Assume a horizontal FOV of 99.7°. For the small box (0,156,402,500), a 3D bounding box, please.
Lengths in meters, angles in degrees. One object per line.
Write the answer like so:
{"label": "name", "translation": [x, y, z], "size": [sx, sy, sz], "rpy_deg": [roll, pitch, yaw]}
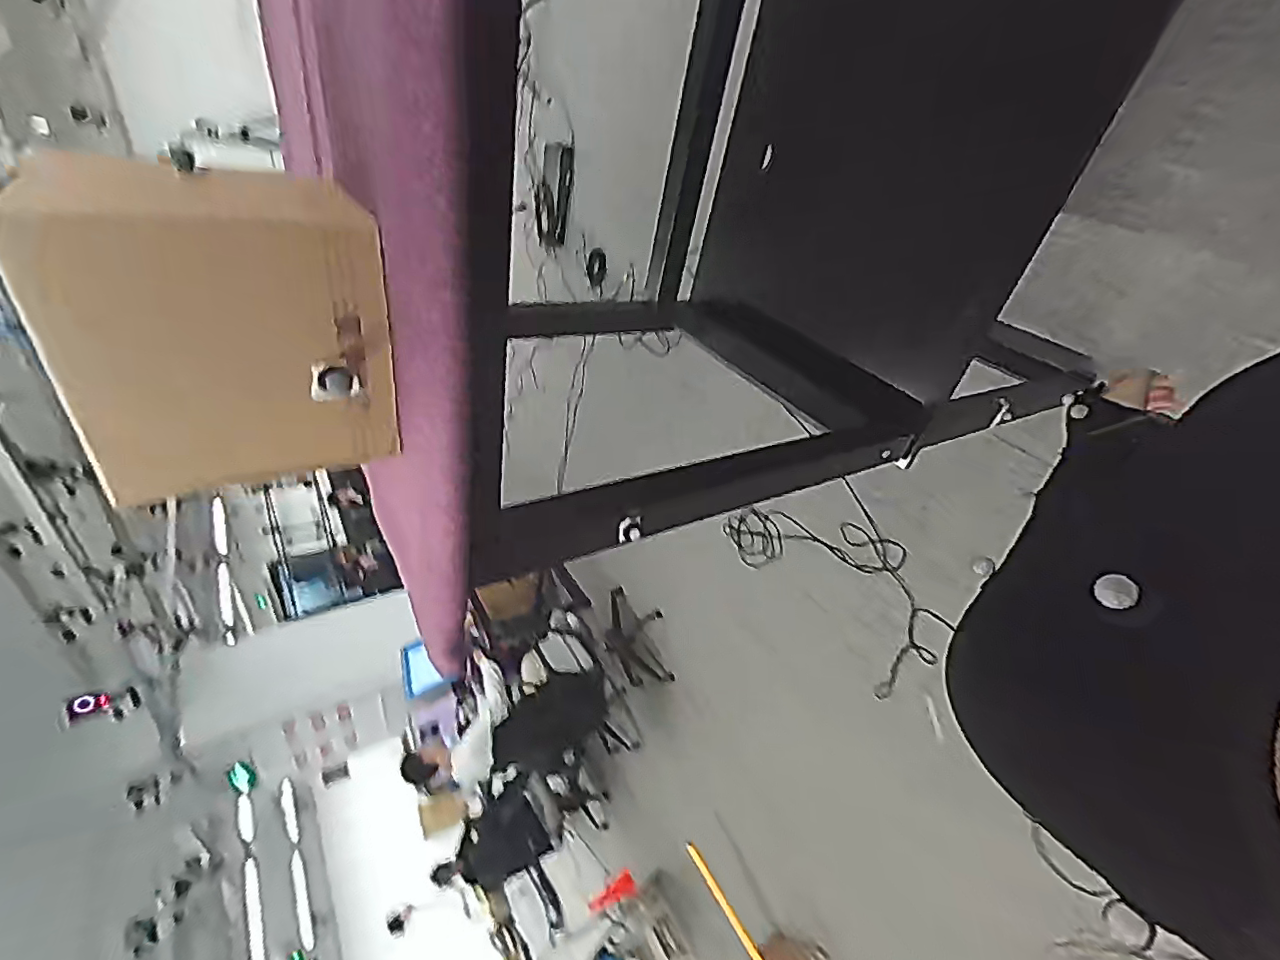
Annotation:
{"label": "small box", "translation": [-0.278, -0.113, 0.377], "size": [0.179, 0.176, 0.168], "rpy_deg": [43, 136, 41]}
